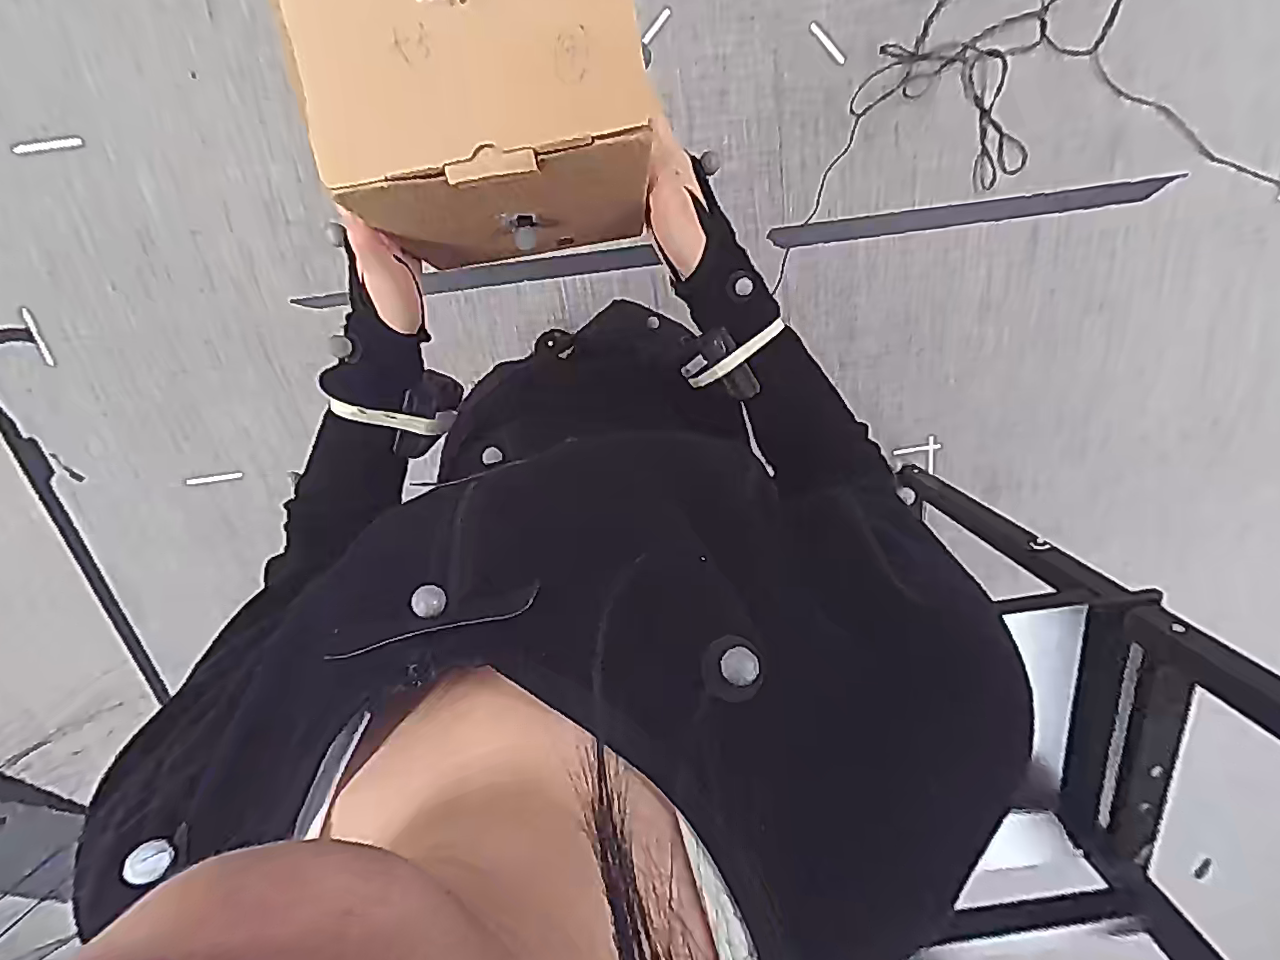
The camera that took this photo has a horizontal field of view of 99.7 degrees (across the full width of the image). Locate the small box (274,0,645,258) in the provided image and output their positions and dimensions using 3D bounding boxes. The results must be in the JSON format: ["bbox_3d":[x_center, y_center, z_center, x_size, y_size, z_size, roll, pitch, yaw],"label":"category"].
[{"bbox_3d":[-0.090,-0.248,0.329,0.168,0.176,0.179,-10,99,0],"label":"small box"}]
